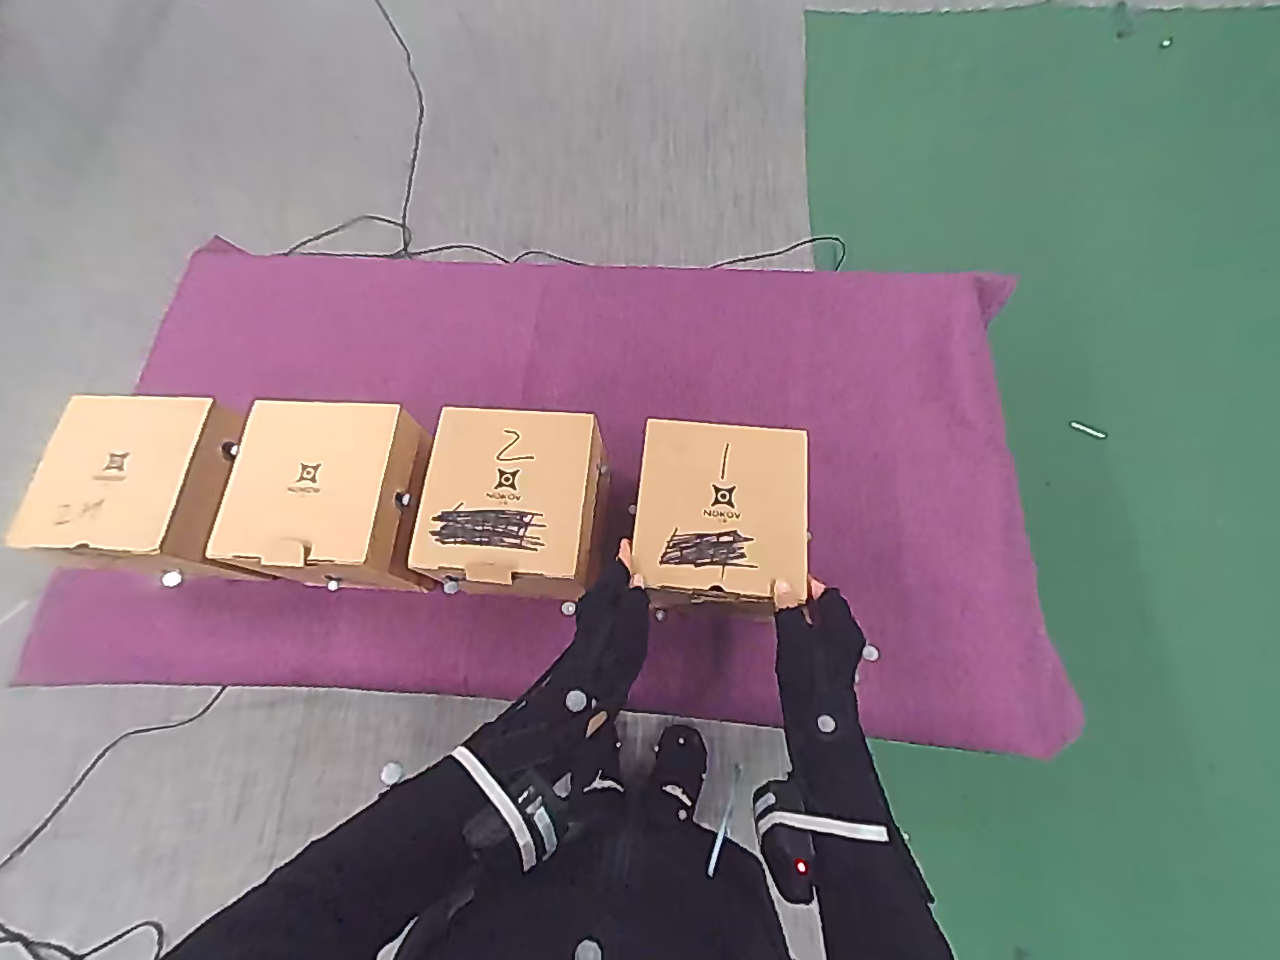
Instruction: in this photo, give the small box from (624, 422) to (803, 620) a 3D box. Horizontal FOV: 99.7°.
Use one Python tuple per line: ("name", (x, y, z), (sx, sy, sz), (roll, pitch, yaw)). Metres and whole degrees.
("small box", (0.080, 0.055, 0.606), (0.168, 0.176, 0.179), (5, 68, 5))
